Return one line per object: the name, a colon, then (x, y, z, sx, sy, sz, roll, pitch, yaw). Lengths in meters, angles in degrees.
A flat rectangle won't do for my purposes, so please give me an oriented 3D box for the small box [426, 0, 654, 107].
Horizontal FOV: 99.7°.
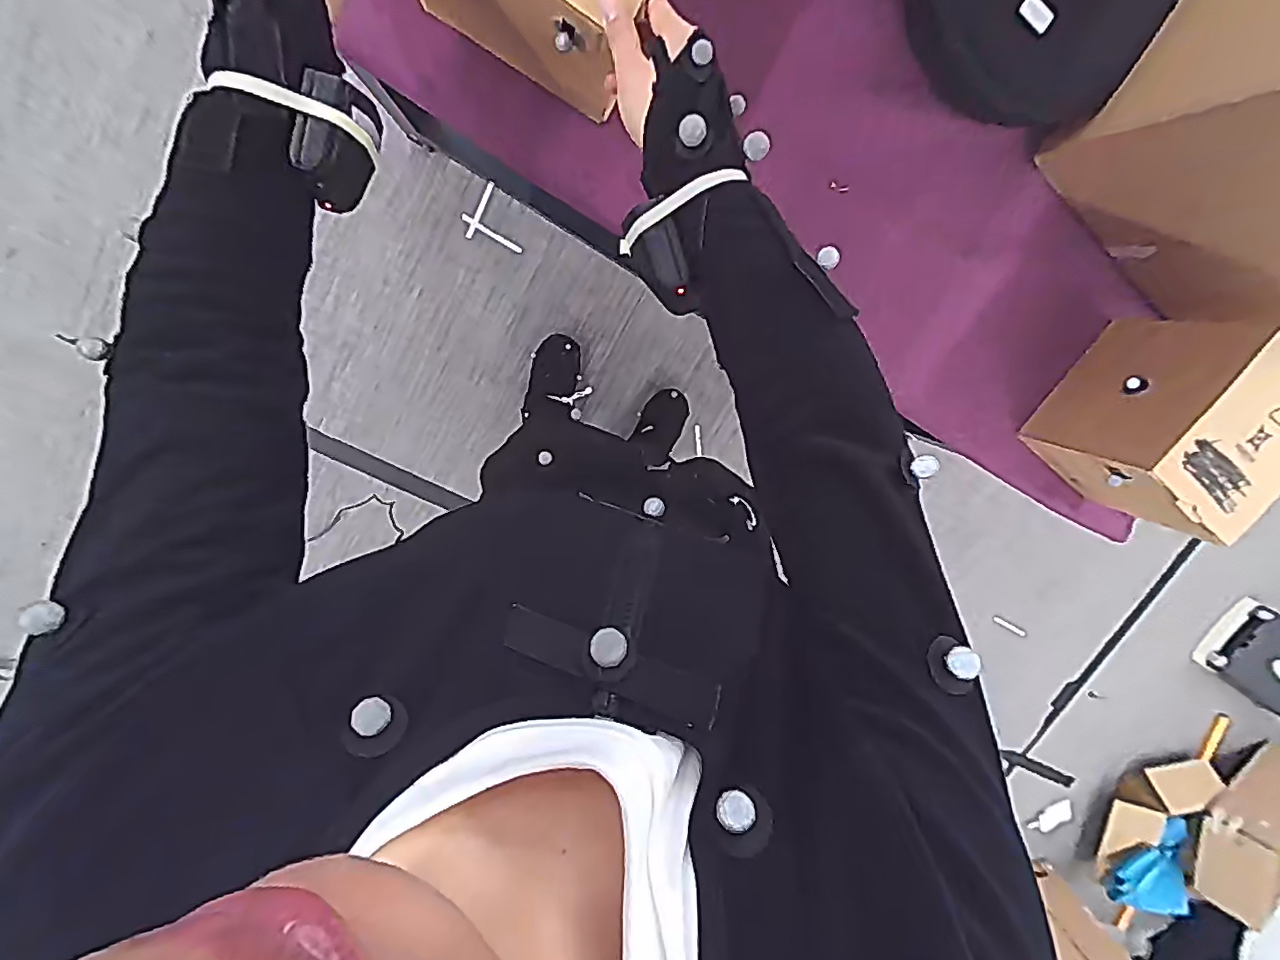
small box: (-0.063, -0.417, 0.390, 0.179, 0.176, 0.168, 24, 101, -17)
